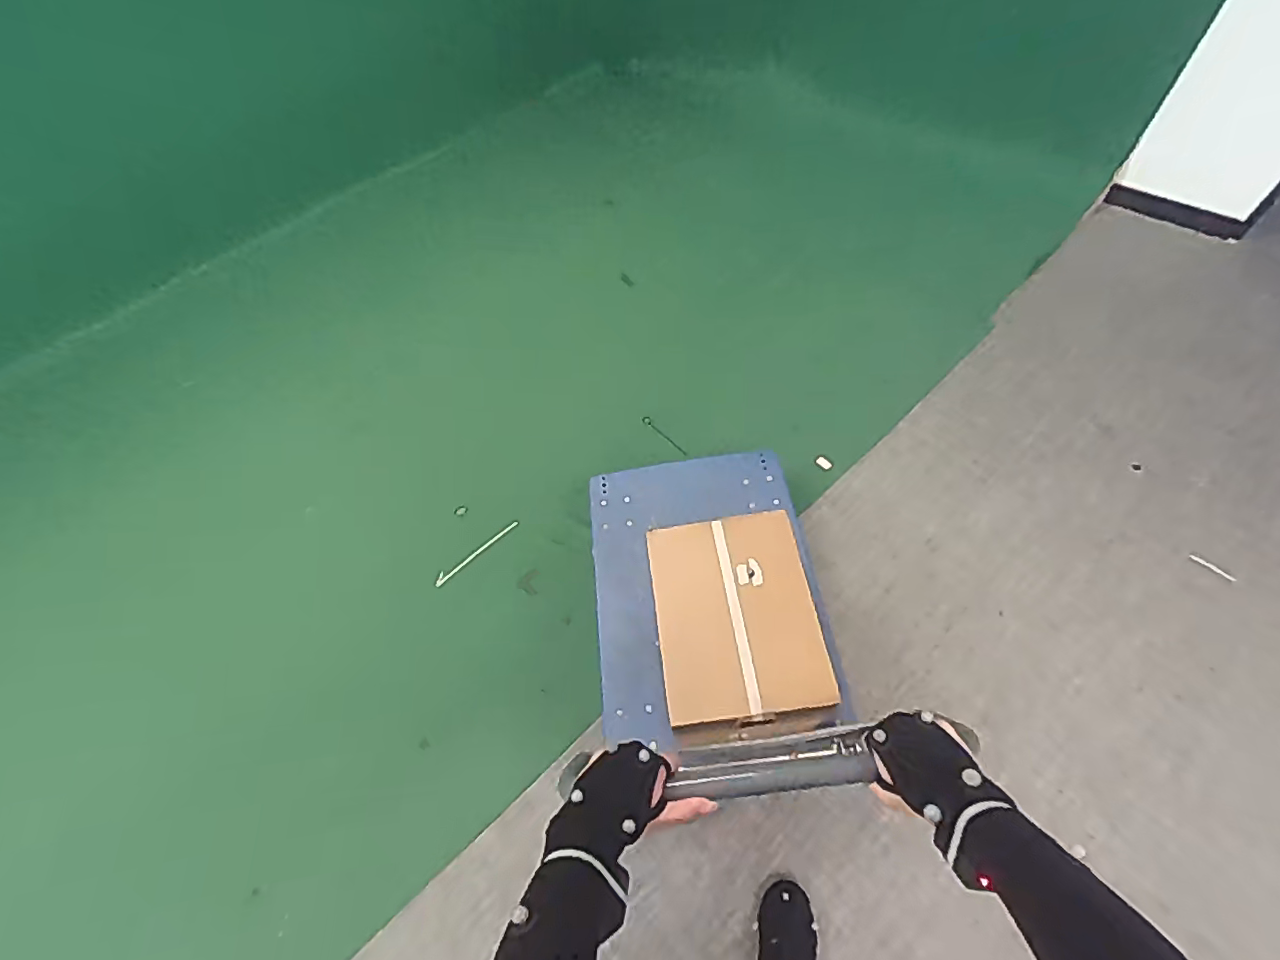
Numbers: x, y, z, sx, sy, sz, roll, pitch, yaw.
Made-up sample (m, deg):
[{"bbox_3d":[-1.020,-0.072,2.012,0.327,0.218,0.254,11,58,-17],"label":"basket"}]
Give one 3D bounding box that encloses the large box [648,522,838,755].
[{"bbox_3d":[0.210,0.362,1.221,0.320,0.320,0.408,-9,56,2],"label":"large box"}]
